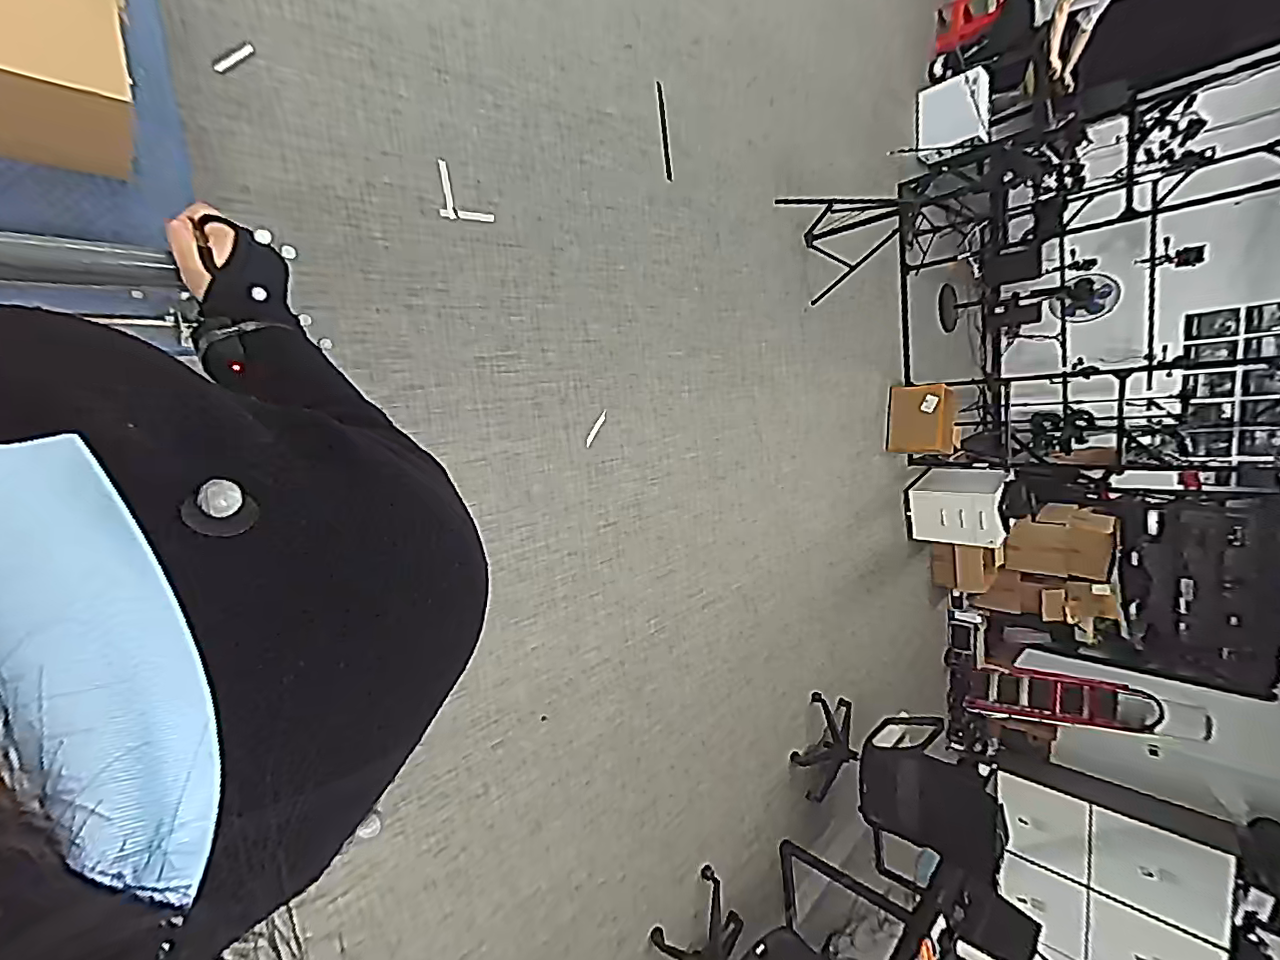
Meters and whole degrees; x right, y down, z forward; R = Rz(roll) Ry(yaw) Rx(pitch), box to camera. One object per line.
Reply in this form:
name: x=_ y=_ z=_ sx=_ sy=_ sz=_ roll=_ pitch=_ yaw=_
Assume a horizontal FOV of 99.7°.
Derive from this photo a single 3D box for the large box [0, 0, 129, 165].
large box: x=-0.964 y=-0.666 z=0.699 sx=0.408 sy=0.320 sz=0.320 roll=-10 pitch=99 yaw=-43
